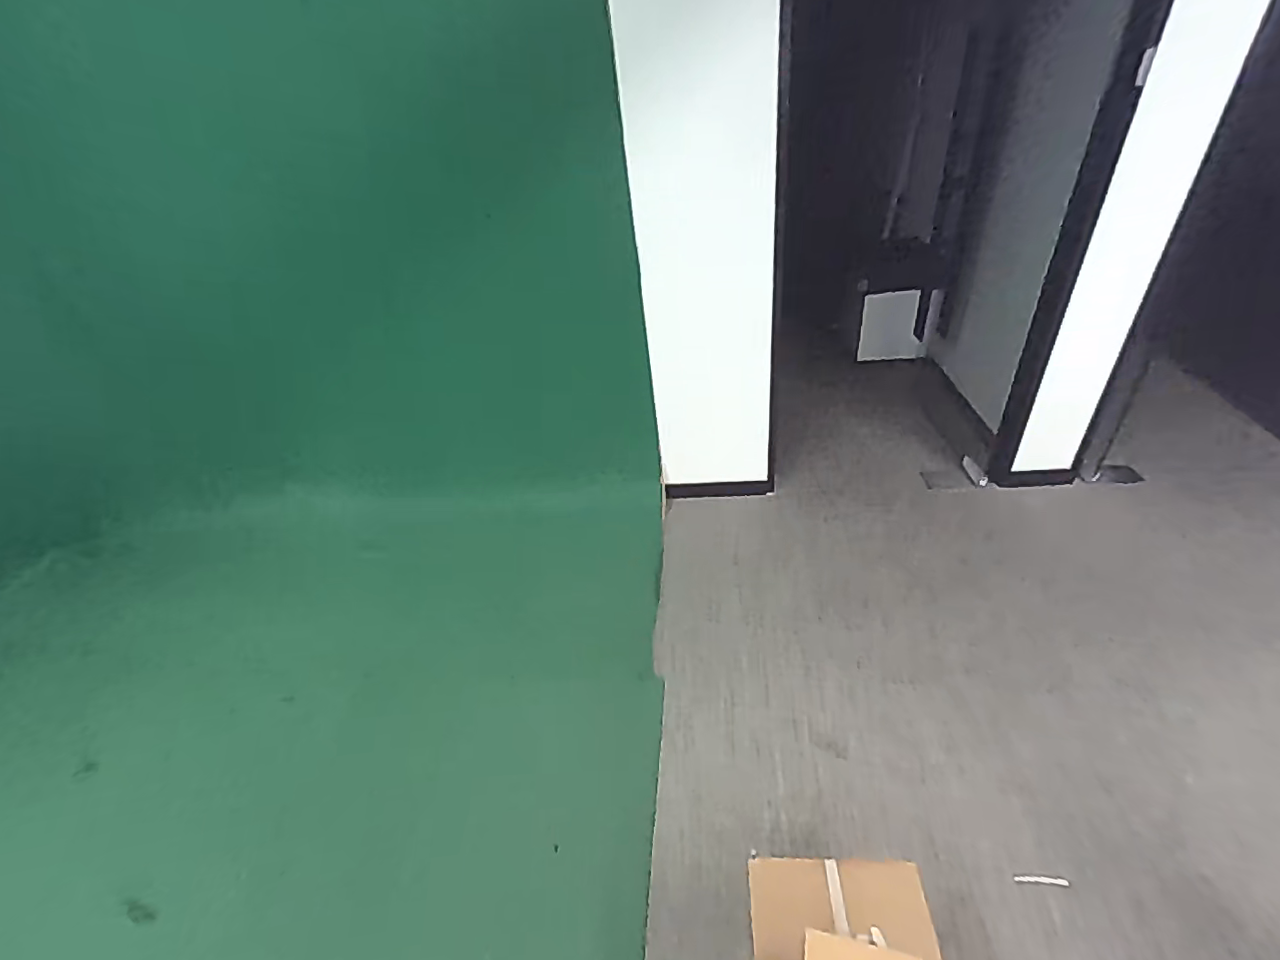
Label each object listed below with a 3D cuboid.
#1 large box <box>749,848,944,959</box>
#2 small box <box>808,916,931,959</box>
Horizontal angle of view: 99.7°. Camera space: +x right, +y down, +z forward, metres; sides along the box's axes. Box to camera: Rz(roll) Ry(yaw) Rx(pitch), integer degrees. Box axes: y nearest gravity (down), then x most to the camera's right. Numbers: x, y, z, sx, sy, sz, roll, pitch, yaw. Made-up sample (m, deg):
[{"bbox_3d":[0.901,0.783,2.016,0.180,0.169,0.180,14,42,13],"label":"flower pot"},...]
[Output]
[{"bbox_3d":[0.376,0.953,0.972,0.320,0.320,0.408,-4,35,8],"label":"large box"},{"bbox_3d":[0.330,0.789,0.788,0.168,0.176,0.179,2,38,18],"label":"small box"}]
